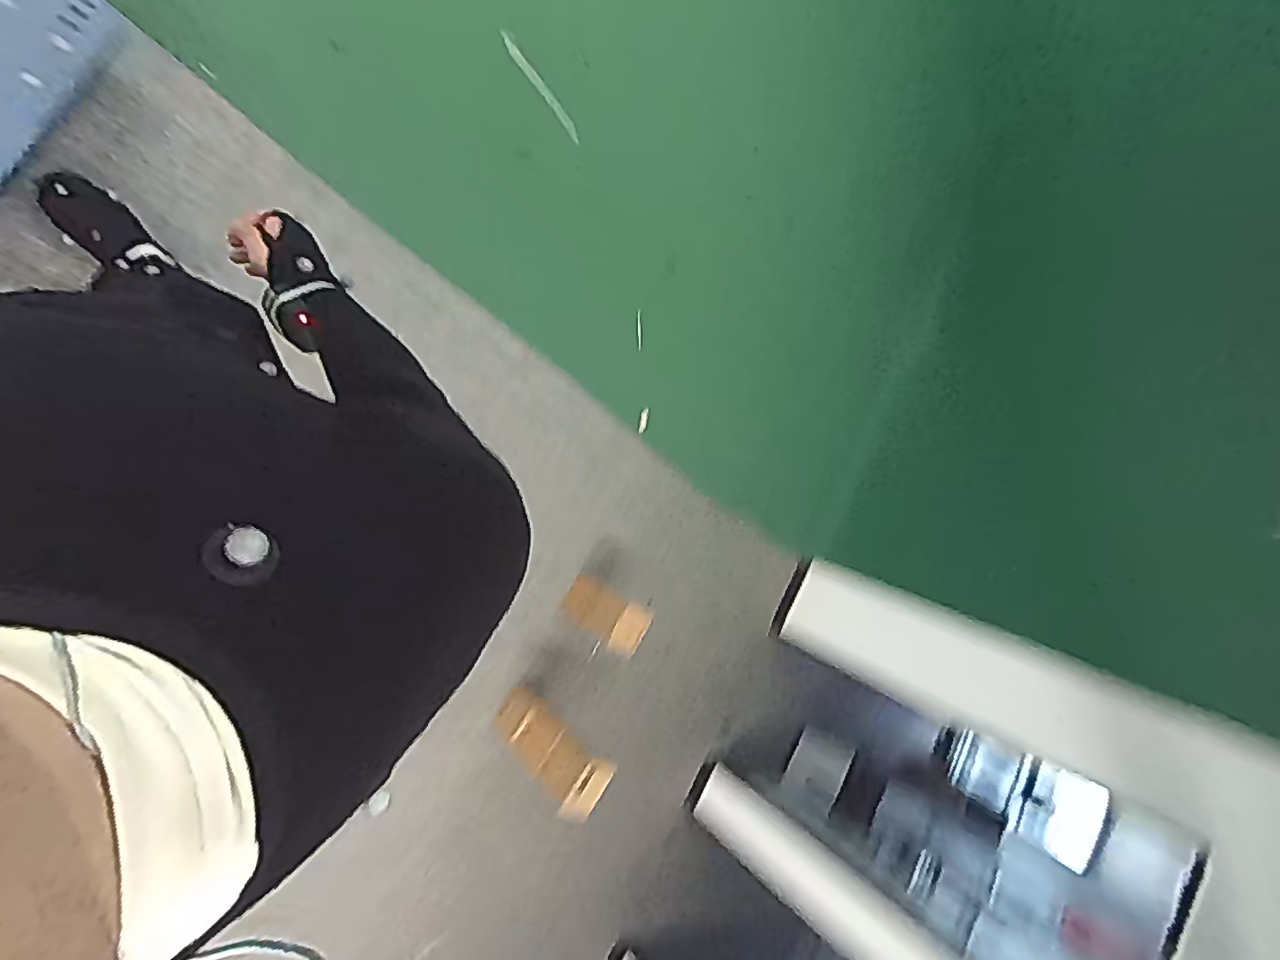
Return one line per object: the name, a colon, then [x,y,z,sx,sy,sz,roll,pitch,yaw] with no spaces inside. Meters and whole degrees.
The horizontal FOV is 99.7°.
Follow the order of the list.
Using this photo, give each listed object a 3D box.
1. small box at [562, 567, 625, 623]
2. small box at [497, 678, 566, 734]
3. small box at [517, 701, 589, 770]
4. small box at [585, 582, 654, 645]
small box: [-0.195,0.487,2.259,0.168,0.176,0.179,42,76,-43]
small box: [-0.440,0.930,2.187,0.168,0.176,0.179,-55,133,-16]
small box: [-0.335,0.980,2.076,0.168,0.176,0.179,-57,134,-11]
small box: [-0.086,0.524,2.143,0.179,0.176,0.168,41,76,-43]
